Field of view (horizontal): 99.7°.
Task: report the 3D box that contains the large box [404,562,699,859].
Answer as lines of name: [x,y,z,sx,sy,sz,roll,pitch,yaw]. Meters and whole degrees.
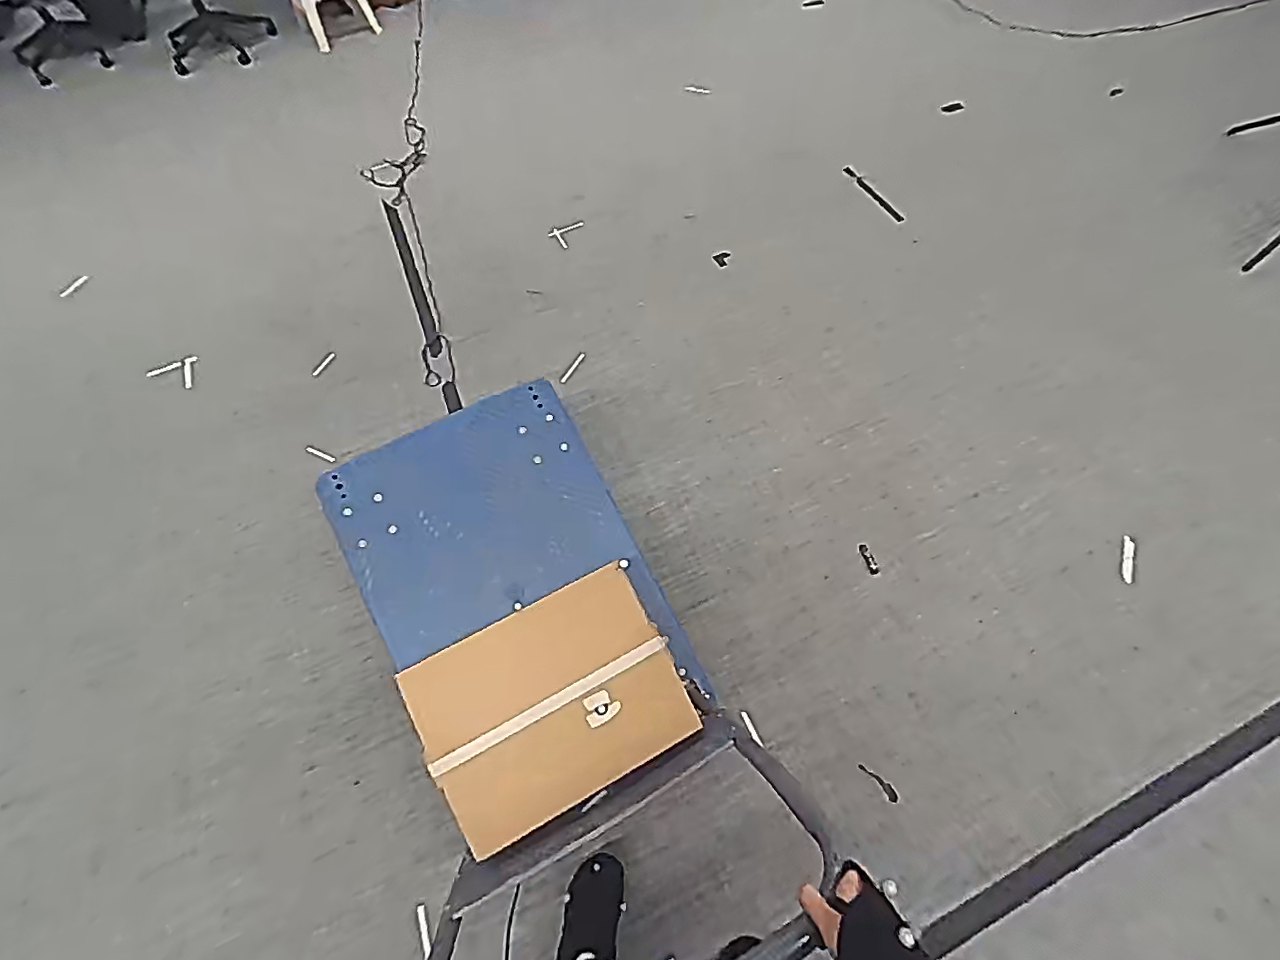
large box: [-0.159,0.396,1.032,0.408,0.320,0.320,-27,83,-12]
